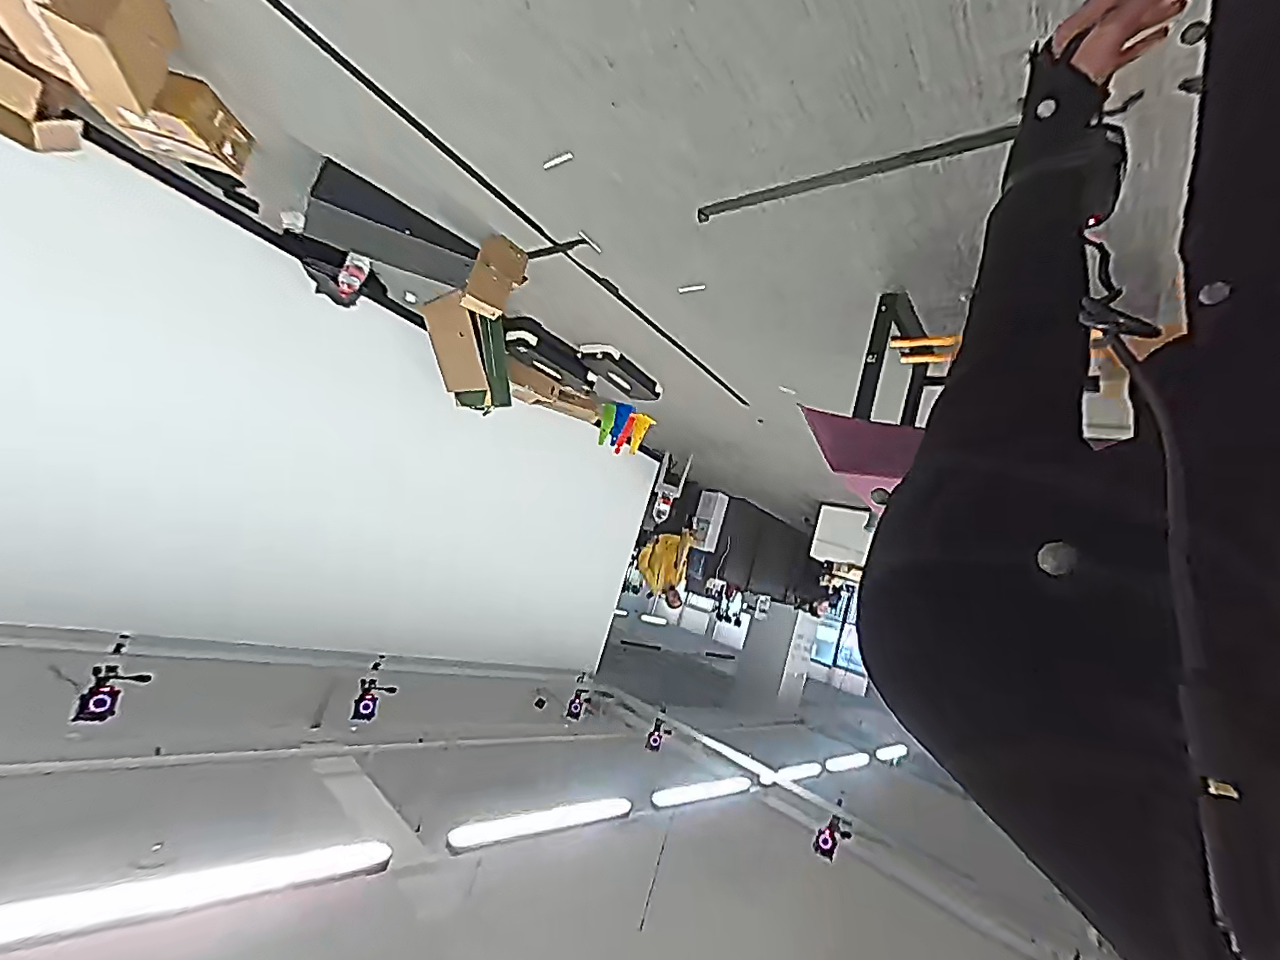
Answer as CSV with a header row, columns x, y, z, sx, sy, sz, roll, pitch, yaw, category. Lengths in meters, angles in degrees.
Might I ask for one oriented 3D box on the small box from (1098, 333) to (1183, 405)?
x,y,z,sx,sy,sz,roll,pitch,yaw,category
1.597,-0.355,1.730,0.179,0.176,0.168,10,168,44,small box
